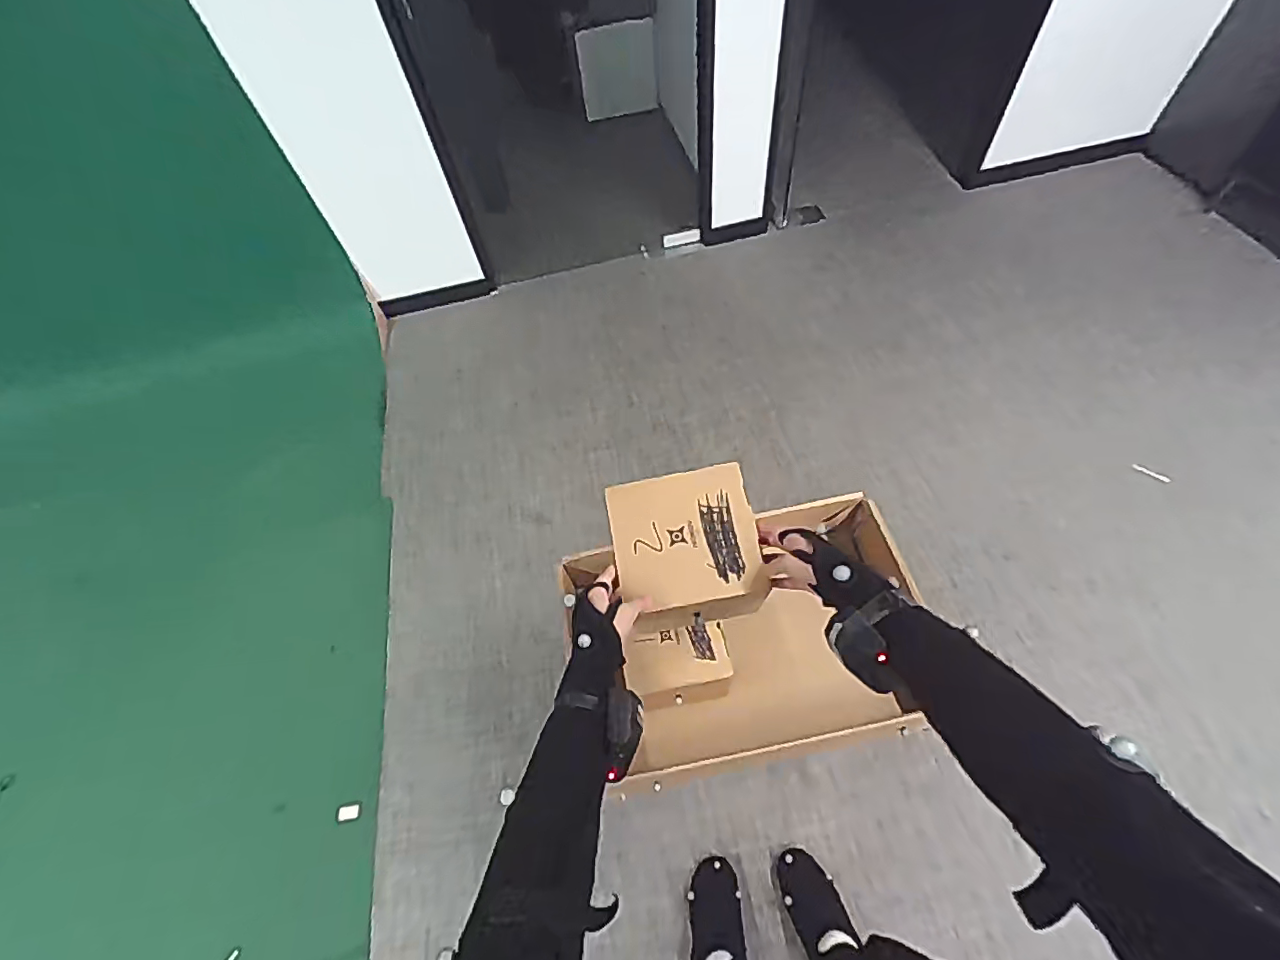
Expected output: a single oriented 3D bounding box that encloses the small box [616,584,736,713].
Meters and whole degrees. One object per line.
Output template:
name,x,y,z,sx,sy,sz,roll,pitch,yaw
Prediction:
small box,0.062,0.303,0.963,0.179,0.176,0.168,-11,57,0
